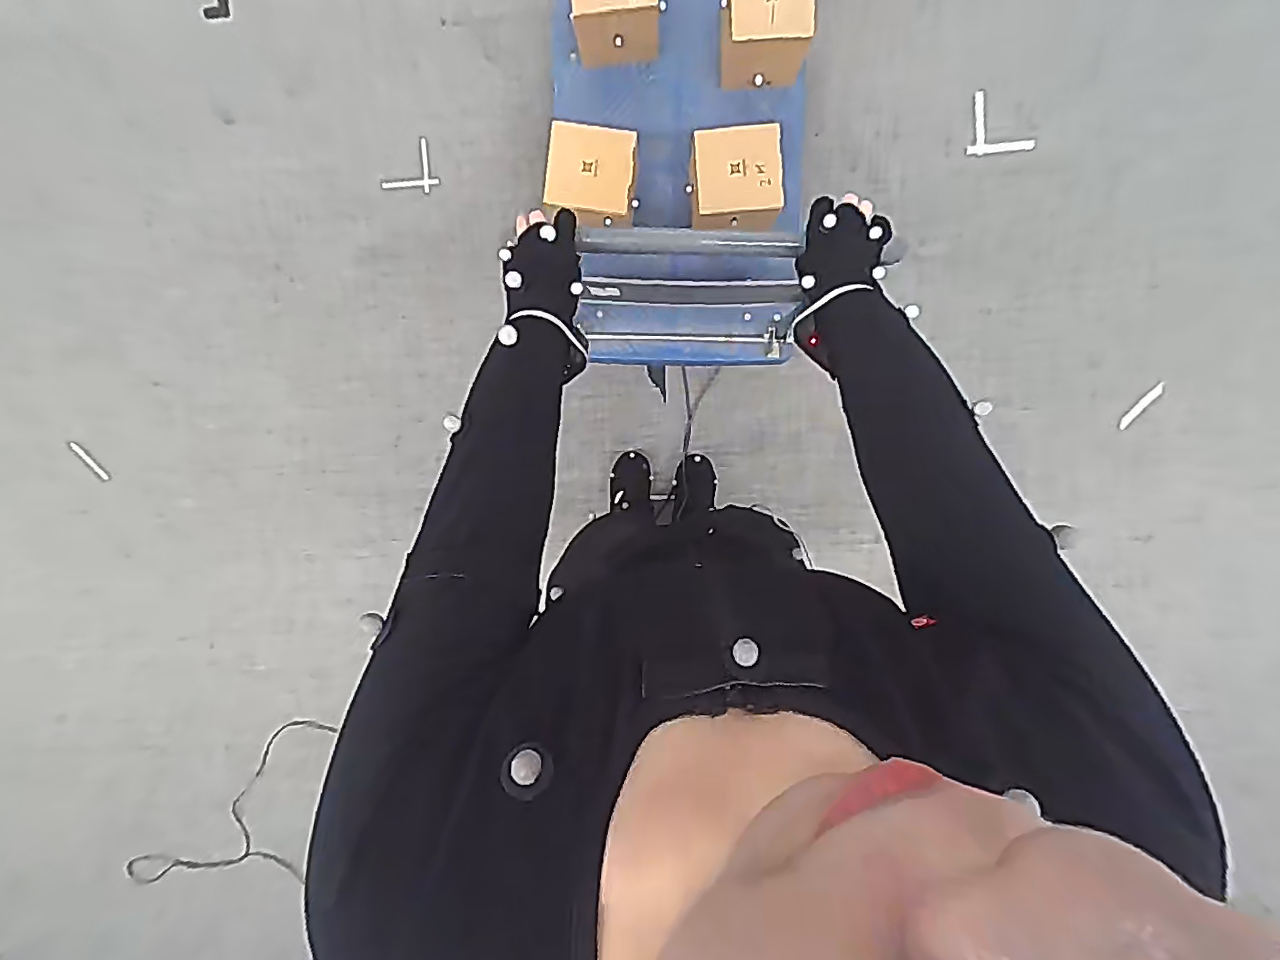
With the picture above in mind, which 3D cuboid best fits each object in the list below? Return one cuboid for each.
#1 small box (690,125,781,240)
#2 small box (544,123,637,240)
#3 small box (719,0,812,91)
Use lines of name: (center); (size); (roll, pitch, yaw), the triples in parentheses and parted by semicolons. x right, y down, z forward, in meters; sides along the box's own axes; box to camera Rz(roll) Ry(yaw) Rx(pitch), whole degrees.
small box: (0.201, -0.642, 1.187); (0.179, 0.176, 0.168); (-4, 95, 1)
small box: (-0.102, -0.647, 1.192); (0.179, 0.176, 0.168); (7, 95, -1)
small box: (0.262, -0.975, 1.155); (0.168, 0.176, 0.179); (-2, 96, 2)
